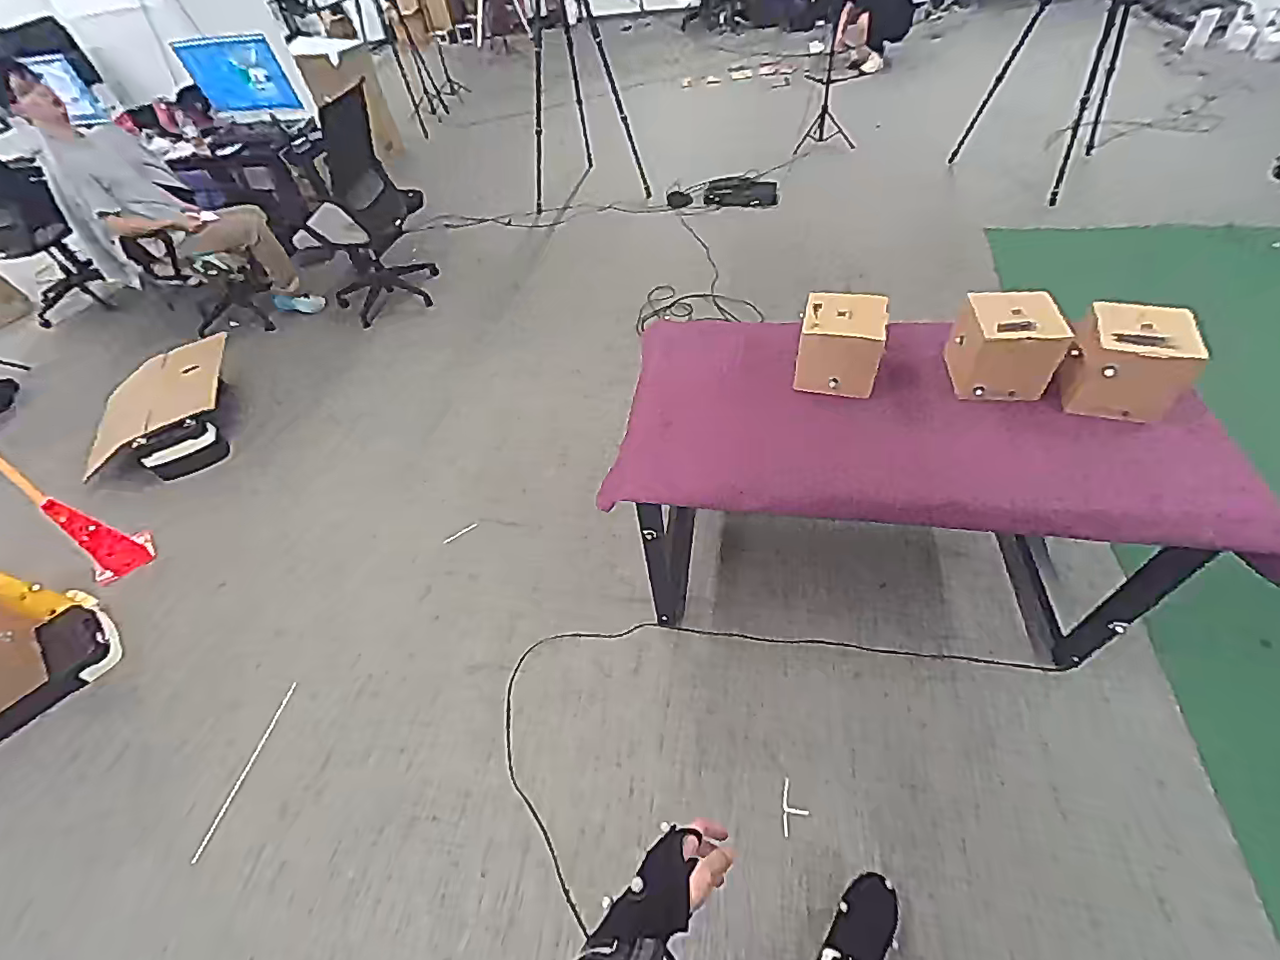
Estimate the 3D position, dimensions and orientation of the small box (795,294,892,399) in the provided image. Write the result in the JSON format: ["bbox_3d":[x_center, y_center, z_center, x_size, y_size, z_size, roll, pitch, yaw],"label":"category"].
[{"bbox_3d":[0.473,-0.310,1.266,0.179,0.176,0.168,11,52,16],"label":"small box"}]
